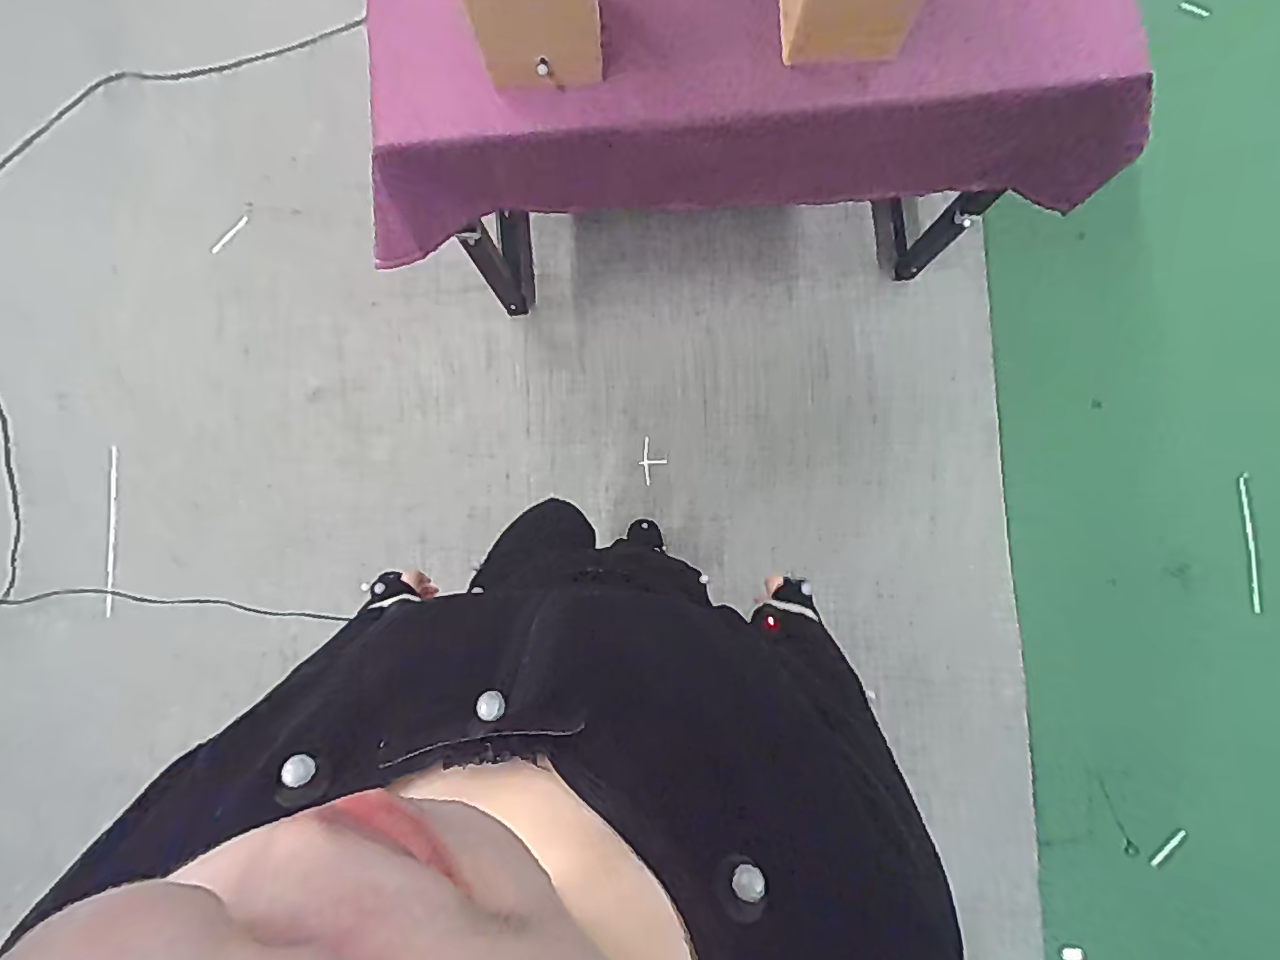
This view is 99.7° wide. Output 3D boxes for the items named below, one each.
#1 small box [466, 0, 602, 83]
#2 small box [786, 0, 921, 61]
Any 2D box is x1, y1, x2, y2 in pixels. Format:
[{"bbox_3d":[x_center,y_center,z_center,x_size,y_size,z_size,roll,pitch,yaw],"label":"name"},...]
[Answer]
[{"bbox_3d":[-0.144,-0.705,0.768,0.179,0.176,0.168,-2,85,0],"label":"small box"},{"bbox_3d":[0.307,-0.734,0.763,0.179,0.176,0.168,-1,85,1],"label":"small box"}]
